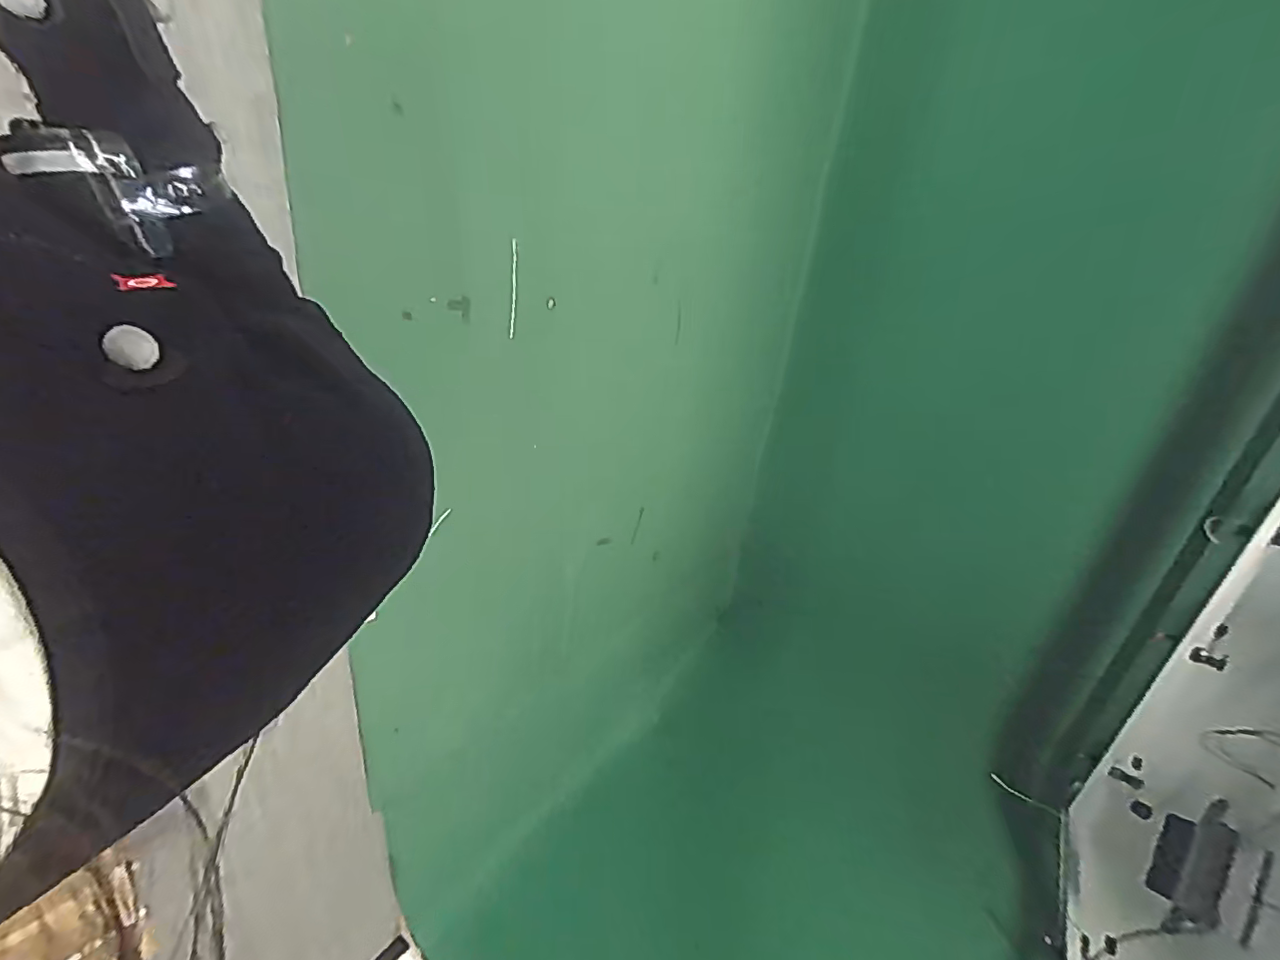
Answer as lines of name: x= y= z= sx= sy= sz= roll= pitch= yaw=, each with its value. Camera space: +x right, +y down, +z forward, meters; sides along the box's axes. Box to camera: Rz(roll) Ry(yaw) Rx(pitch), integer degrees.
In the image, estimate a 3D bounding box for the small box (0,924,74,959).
small box: x=-1.140 y=0.970 z=0.983 sx=0.168 sy=0.176 sz=0.179 roll=-19 pitch=124 yaw=-50
